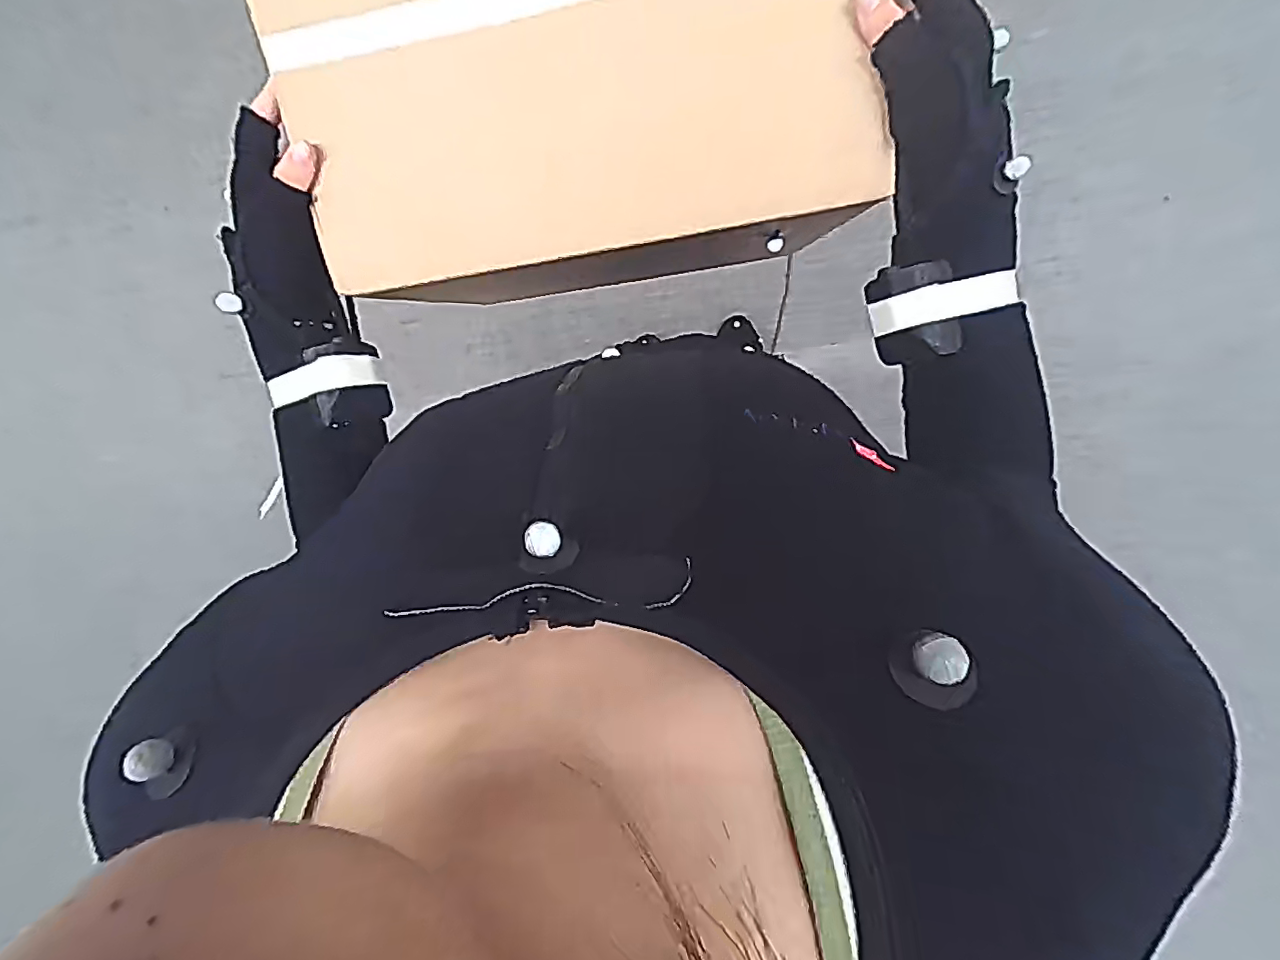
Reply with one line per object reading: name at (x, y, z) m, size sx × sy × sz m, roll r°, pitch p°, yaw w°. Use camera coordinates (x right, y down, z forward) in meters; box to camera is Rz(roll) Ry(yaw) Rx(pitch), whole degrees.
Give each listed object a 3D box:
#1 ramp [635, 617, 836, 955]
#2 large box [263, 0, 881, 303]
ramp at (0.275, 0.914, 1.599) m, size 0.509 × 0.206 × 0.991 m, roll -8°, pitch 102°, yaw 9°
large box at (-0.041, -0.355, 0.497) m, size 0.408 × 0.320 × 0.320 m, roll -8°, pitch 105°, yaw 6°
